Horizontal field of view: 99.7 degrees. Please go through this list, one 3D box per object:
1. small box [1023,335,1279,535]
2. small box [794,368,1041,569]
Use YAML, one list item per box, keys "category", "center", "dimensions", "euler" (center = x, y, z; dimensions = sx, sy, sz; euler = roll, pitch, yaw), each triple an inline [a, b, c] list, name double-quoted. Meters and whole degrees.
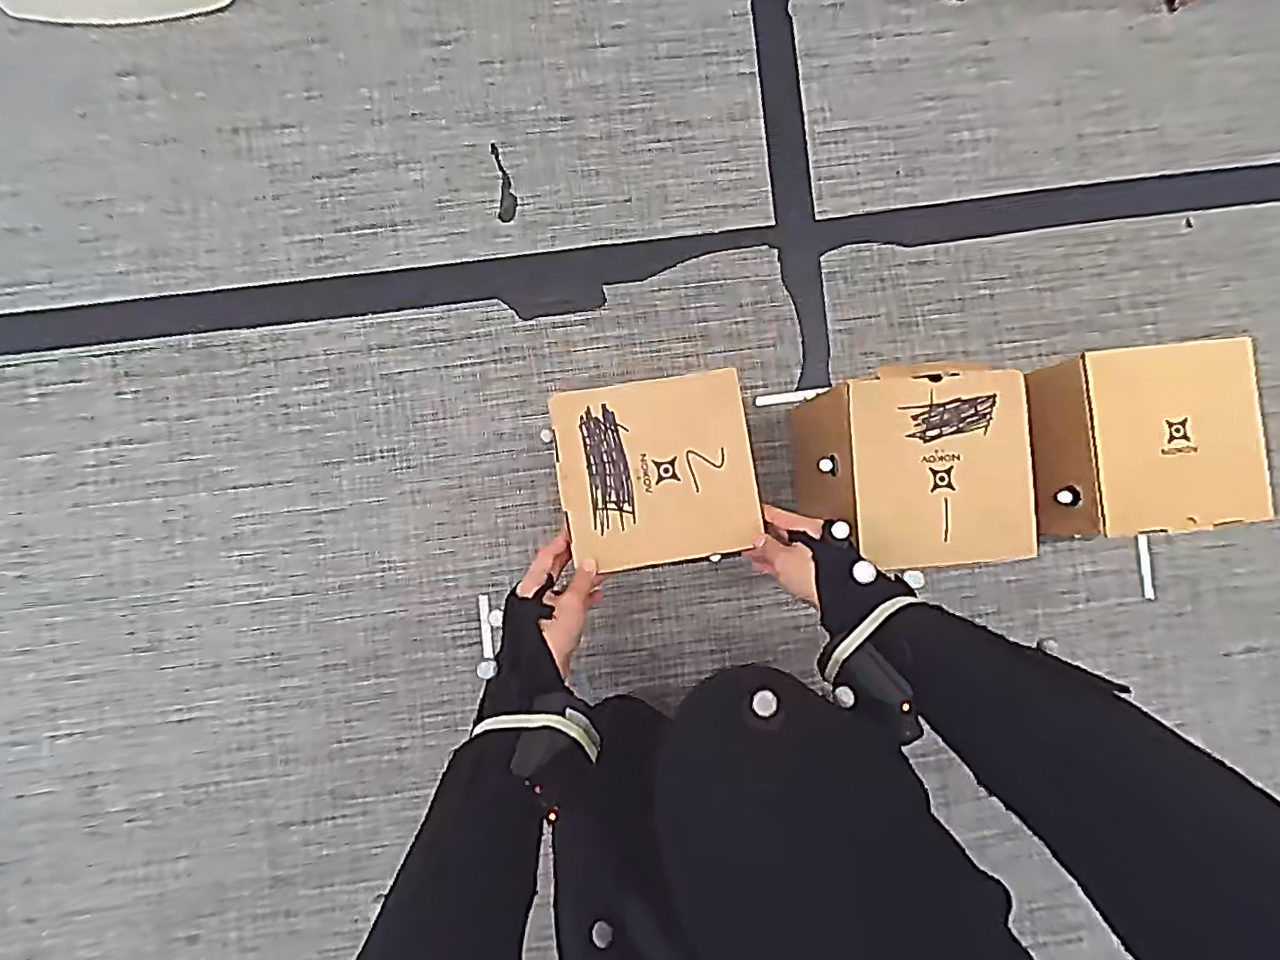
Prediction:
- category: "small box"
  center: [0.494, -0.038, 0.576]
  dimensions: [0.168, 0.176, 0.179]
  euler: [-6, 88, -3]
- category: "small box"
  center: [0.269, -0.008, 0.563]
  dimensions: [0.168, 0.176, 0.179]
  euler: [-4, 89, -2]
